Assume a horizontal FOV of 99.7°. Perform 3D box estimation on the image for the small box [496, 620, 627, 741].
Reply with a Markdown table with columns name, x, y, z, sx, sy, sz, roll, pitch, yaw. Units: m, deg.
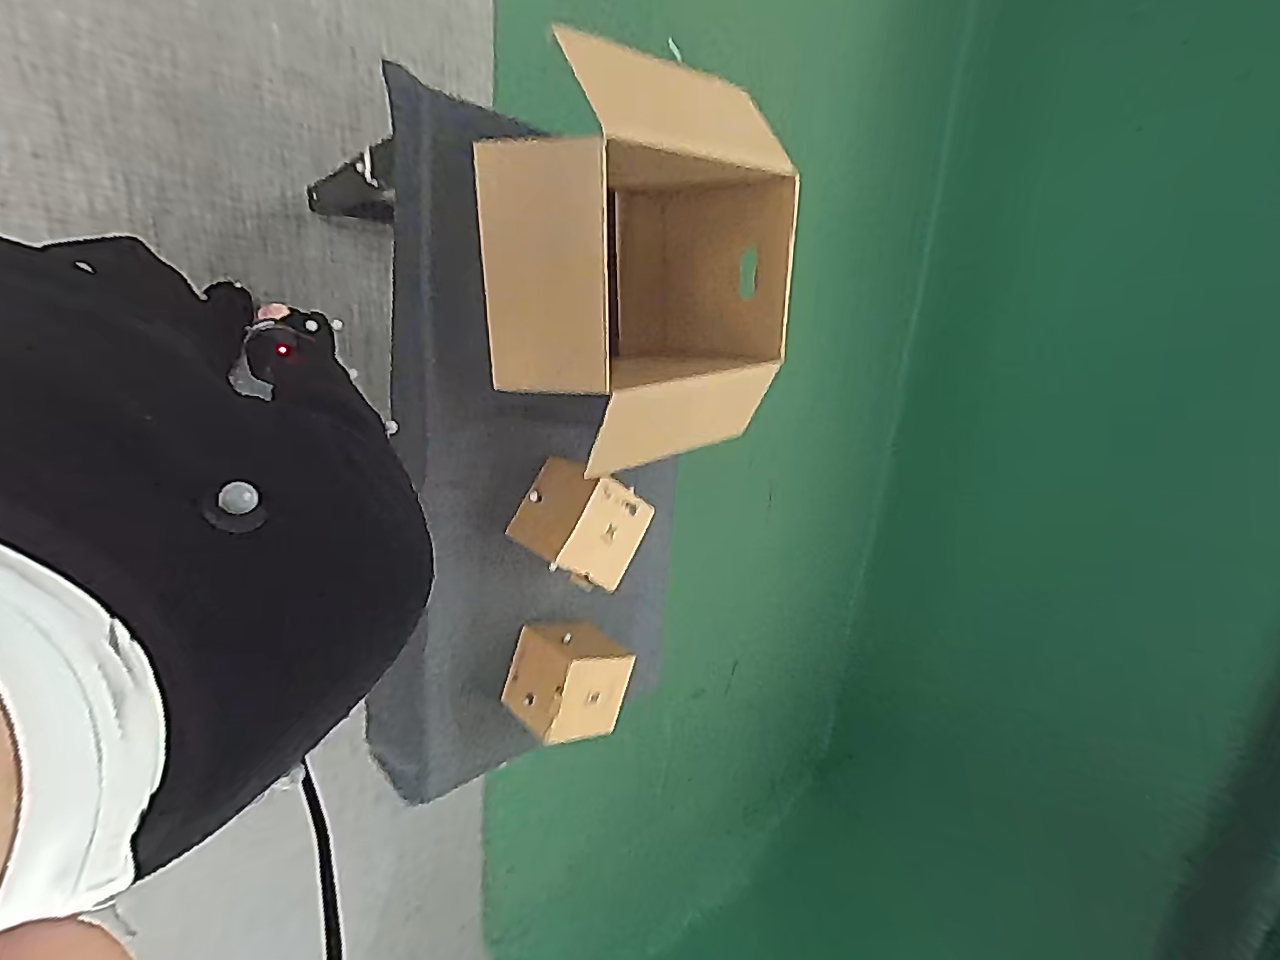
| name | x | y | z | sx | sy | sz | roll | pitch | yaw |
| --- | --- | --- | --- | --- | --- | --- | --- | --- | --- |
| small box | -0.163 | 0.396 | 1.098 | 0.179 | 0.176 | 0.168 | 16 | 94 | -47 |

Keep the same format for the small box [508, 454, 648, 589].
| name | x | y | z | sx | sy | sz | roll | pitch | yaw |
| --- | --- | --- | --- | --- | --- | --- | --- | --- | --- |
| small box | -0.124 | 0.075 | 1.027 | 0.168 | 0.176 | 0.179 | 40 | 76 | -43 |
